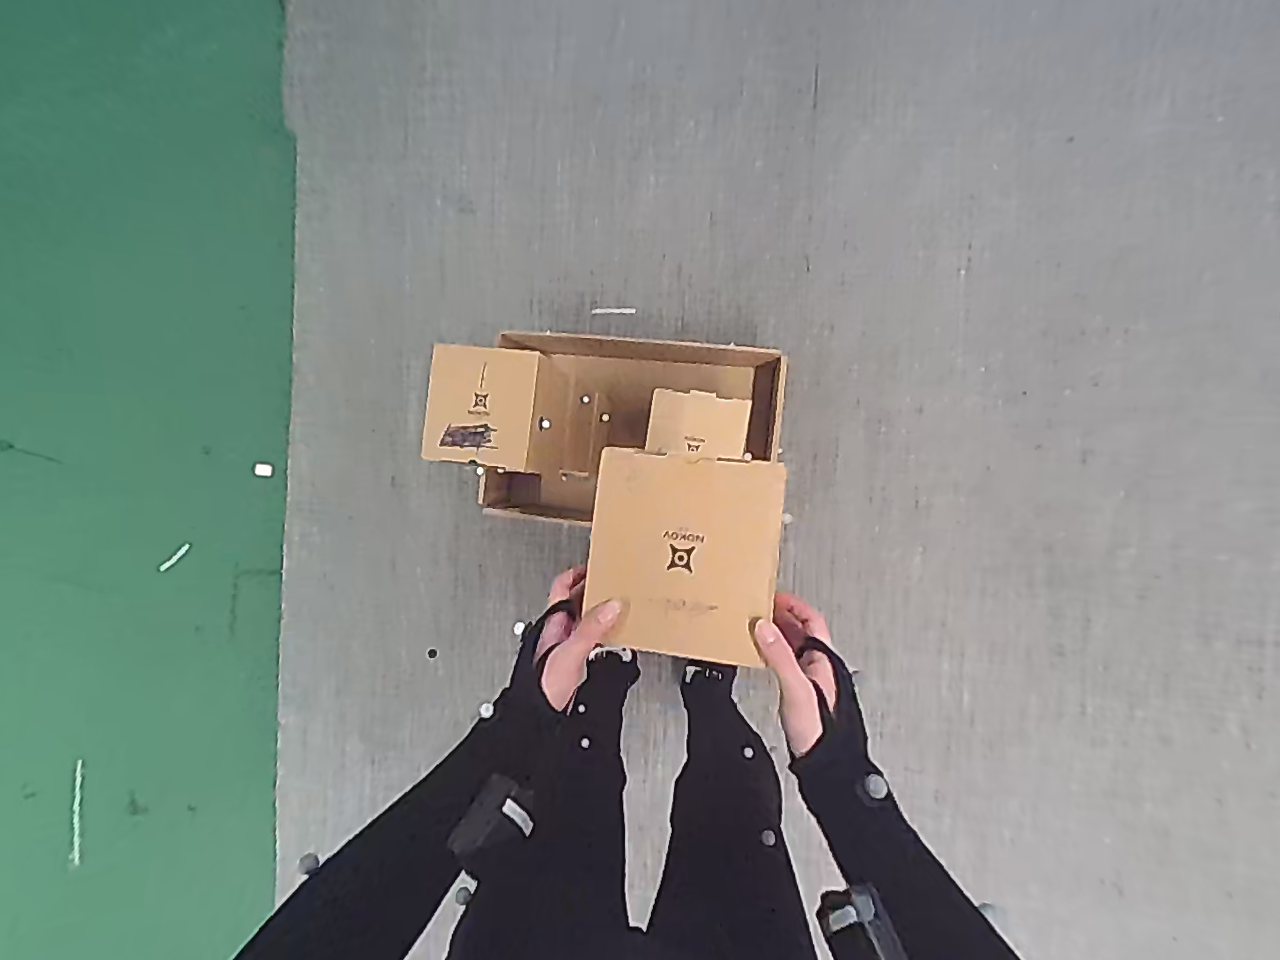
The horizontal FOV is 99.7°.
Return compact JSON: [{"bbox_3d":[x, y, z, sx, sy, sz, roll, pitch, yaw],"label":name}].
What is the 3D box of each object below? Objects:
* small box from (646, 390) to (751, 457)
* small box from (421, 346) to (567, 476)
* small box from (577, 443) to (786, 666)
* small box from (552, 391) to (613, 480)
[{"bbox_3d":[0.102,-0.053,0.979,0.168,0.176,0.179,9,91,9],"label":"small box"},{"bbox_3d":[-0.223,-0.101,0.866,0.168,0.176,0.179,7,89,8],"label":"small box"},{"bbox_3d":[0.047,0.069,0.547,0.168,0.176,0.179,6,86,10],"label":"small box"},{"bbox_3d":[-0.162,-0.096,1.186,0.168,0.176,0.179,7,90,10],"label":"small box"}]
